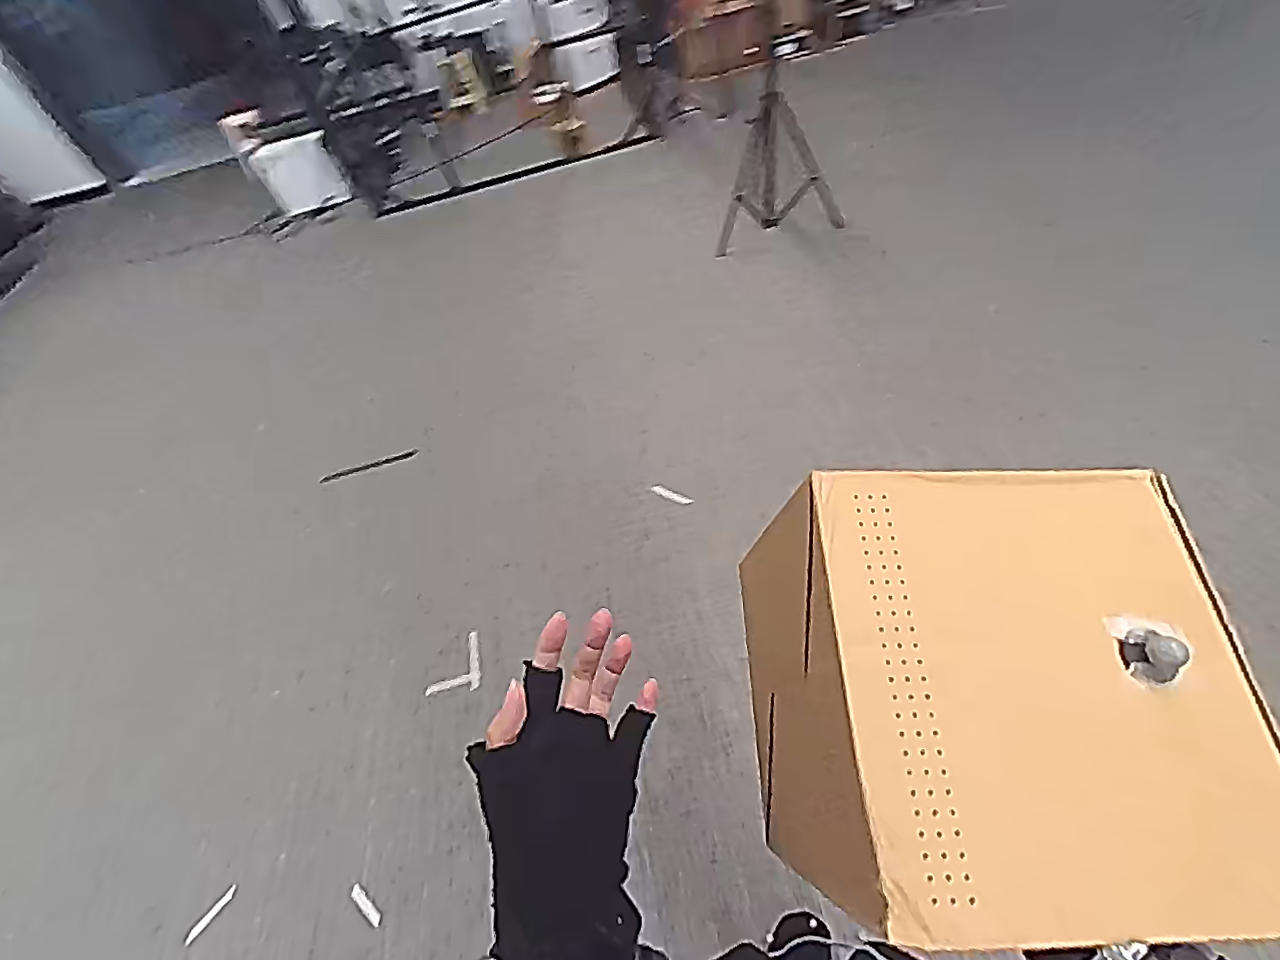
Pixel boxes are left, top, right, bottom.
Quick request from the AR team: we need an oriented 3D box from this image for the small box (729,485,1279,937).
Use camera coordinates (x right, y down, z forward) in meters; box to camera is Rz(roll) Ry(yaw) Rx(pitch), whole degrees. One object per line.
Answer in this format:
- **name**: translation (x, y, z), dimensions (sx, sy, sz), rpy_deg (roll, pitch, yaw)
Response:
- **small box**: translation (0.149, 0.116, 0.300), dimensions (0.176, 0.168, 0.179), rpy_deg (-1, 65, -2)
